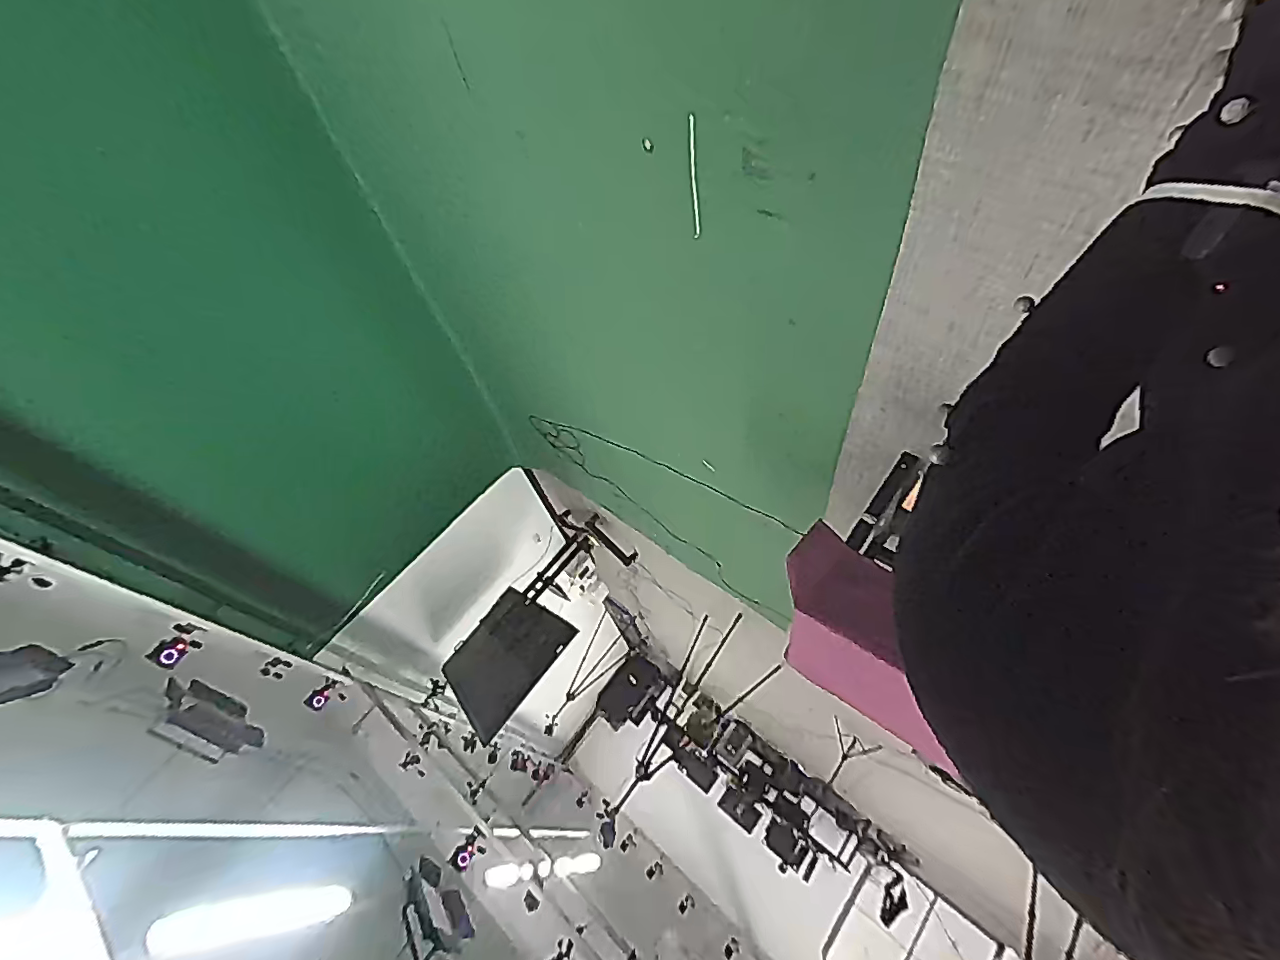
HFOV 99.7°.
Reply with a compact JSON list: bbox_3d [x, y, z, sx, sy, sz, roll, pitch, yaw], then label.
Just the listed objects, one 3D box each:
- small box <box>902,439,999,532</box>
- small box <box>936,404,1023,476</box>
[{"bbox_3d":[0.899,0.013,1.563,0.168,0.176,0.179,34,157,22],"label":"small box"},{"bbox_3d":[1.007,-0.095,1.625,0.168,0.176,0.179,35,159,18],"label":"small box"}]
